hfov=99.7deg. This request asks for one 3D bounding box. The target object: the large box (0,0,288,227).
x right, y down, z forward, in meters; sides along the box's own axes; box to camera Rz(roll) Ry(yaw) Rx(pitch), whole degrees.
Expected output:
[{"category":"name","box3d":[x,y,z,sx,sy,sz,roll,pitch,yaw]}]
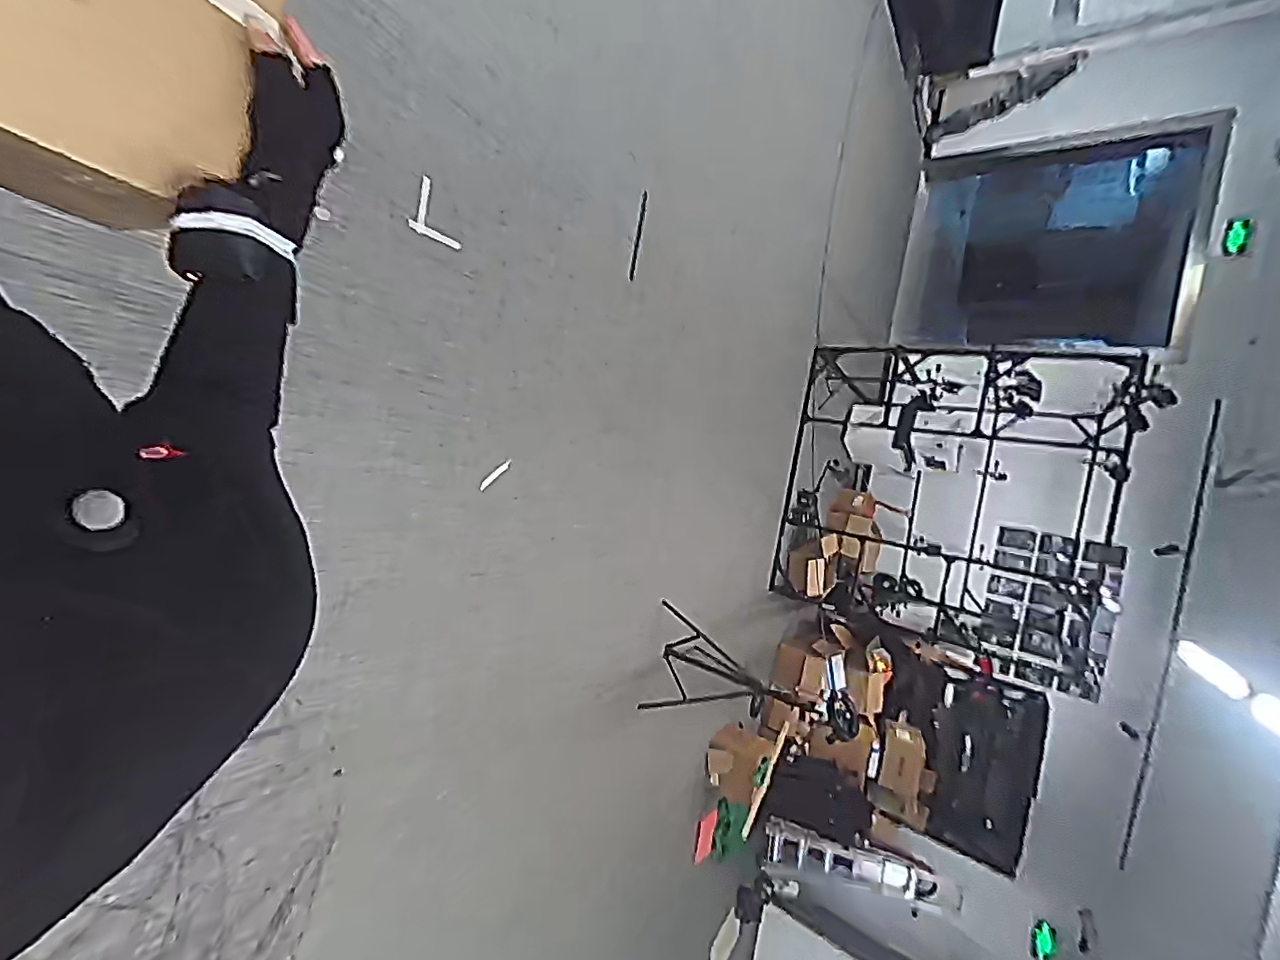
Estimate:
[{"category":"large box","box3d":[-0.529,-0.415,0.360,0.408,0.320,0.320,13,93,-59]}]
